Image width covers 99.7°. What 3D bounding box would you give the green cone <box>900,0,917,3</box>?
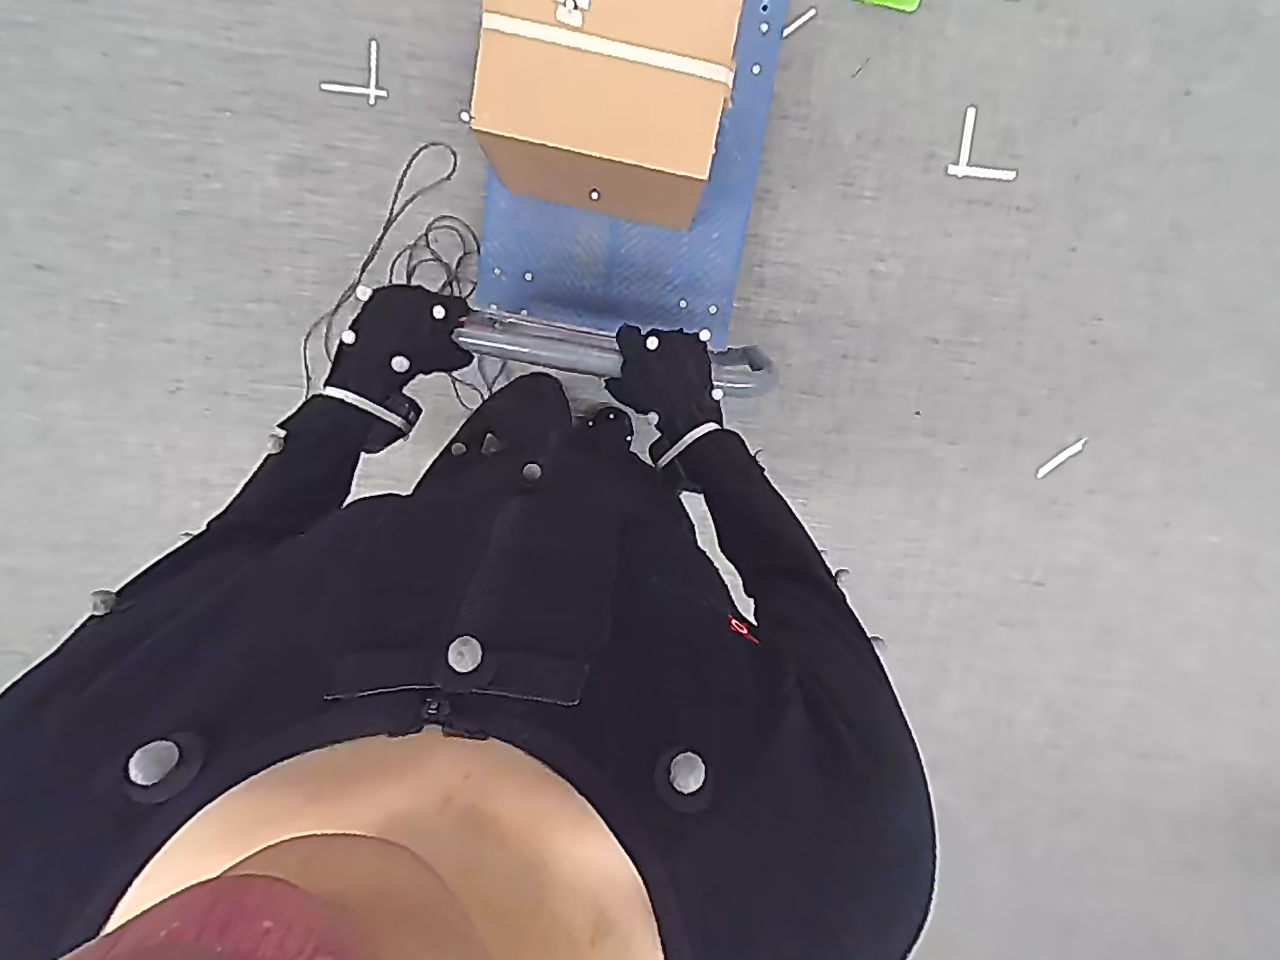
[{"bbox_3d":[0.594,-1.213,1.094,0.202,0.368,0.200,10,100,-5],"label":"green cone"}]

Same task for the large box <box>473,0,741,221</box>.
[{"bbox_3d":[-0.053,-0.722,1.018,0.408,0.320,0.320,11,100,-3],"label":"large box"}]
